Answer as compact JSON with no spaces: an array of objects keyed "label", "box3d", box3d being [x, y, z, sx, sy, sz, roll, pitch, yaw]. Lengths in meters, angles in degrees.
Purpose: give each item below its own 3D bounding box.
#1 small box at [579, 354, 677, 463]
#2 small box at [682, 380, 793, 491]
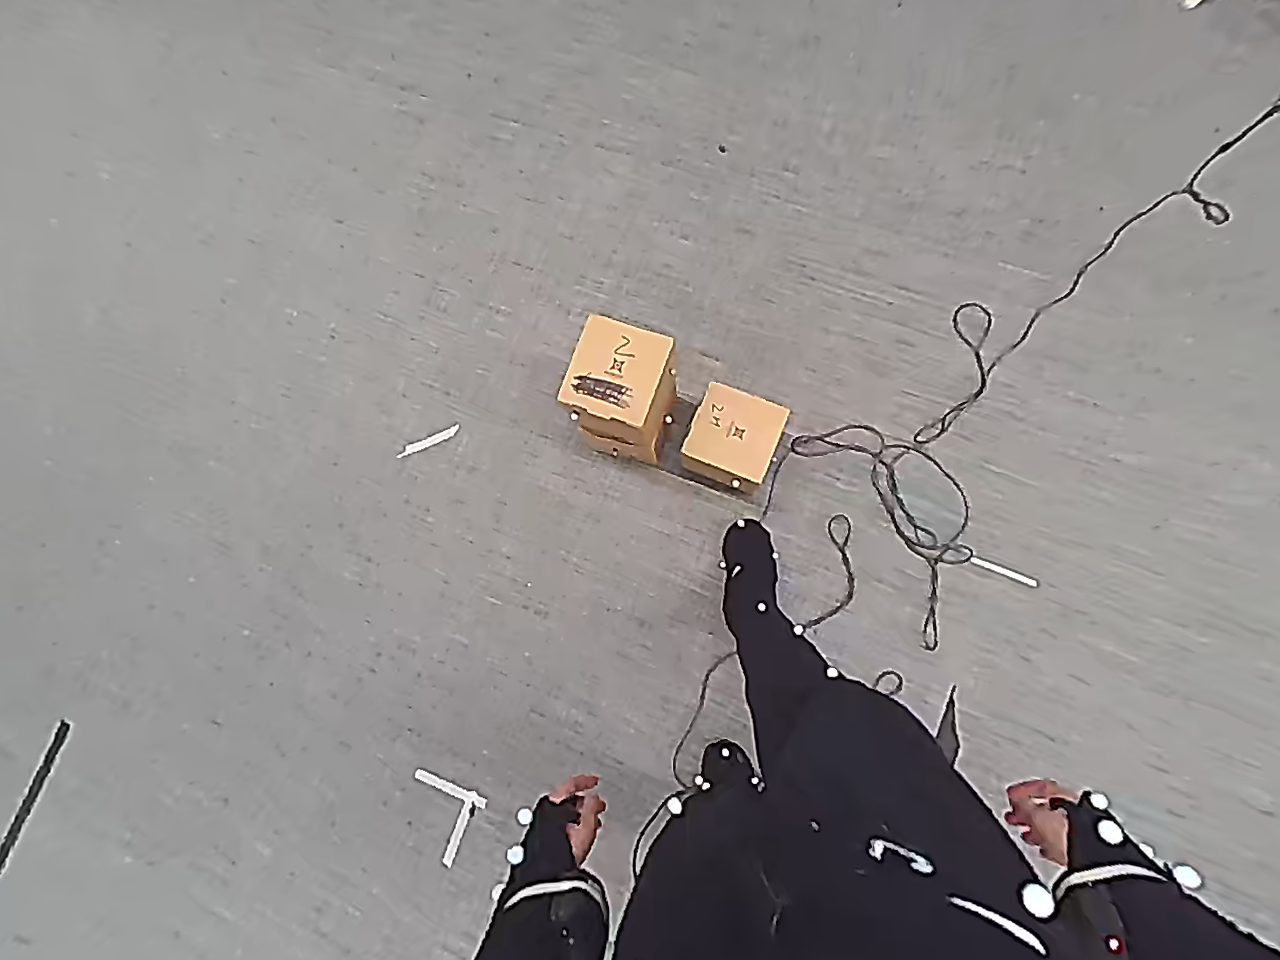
[{"label":"small box","box3d":[-0.019,-0.151,1.190,0.168,0.176,0.179,14,83,9]},{"label":"small box","box3d":[0.202,-0.085,1.152,0.179,0.176,0.168,23,83,10]}]
